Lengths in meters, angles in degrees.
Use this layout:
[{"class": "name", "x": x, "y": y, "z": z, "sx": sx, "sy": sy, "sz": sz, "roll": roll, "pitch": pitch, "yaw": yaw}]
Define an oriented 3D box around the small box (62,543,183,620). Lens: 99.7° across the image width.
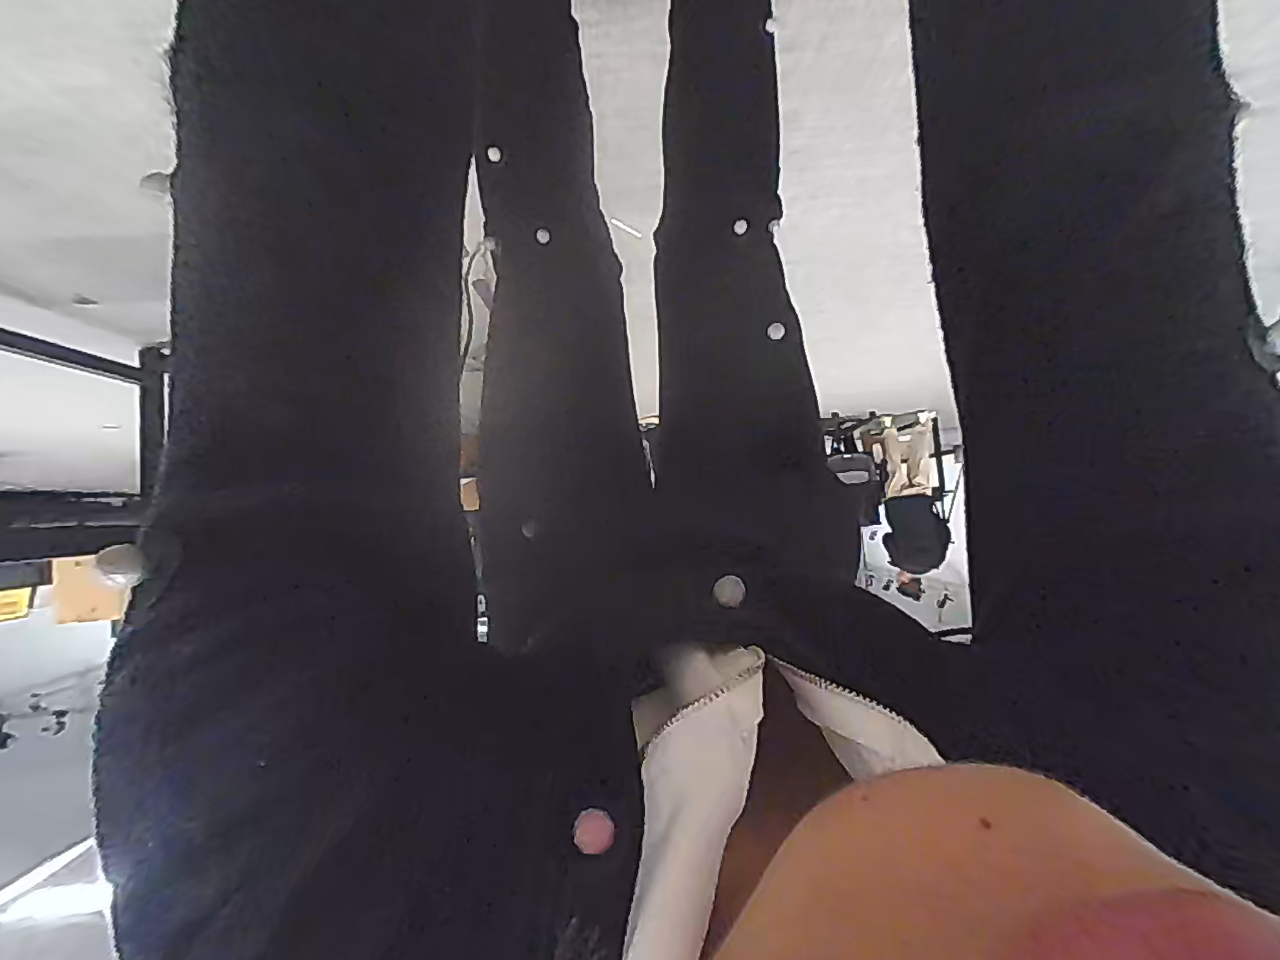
[{"class": "small box", "x": -1.368, "y": 0.263, "z": 1.433, "sx": 0.168, "sy": 0.176, "sz": 0.179, "roll": -4, "pitch": 178, "yaw": -1}]
